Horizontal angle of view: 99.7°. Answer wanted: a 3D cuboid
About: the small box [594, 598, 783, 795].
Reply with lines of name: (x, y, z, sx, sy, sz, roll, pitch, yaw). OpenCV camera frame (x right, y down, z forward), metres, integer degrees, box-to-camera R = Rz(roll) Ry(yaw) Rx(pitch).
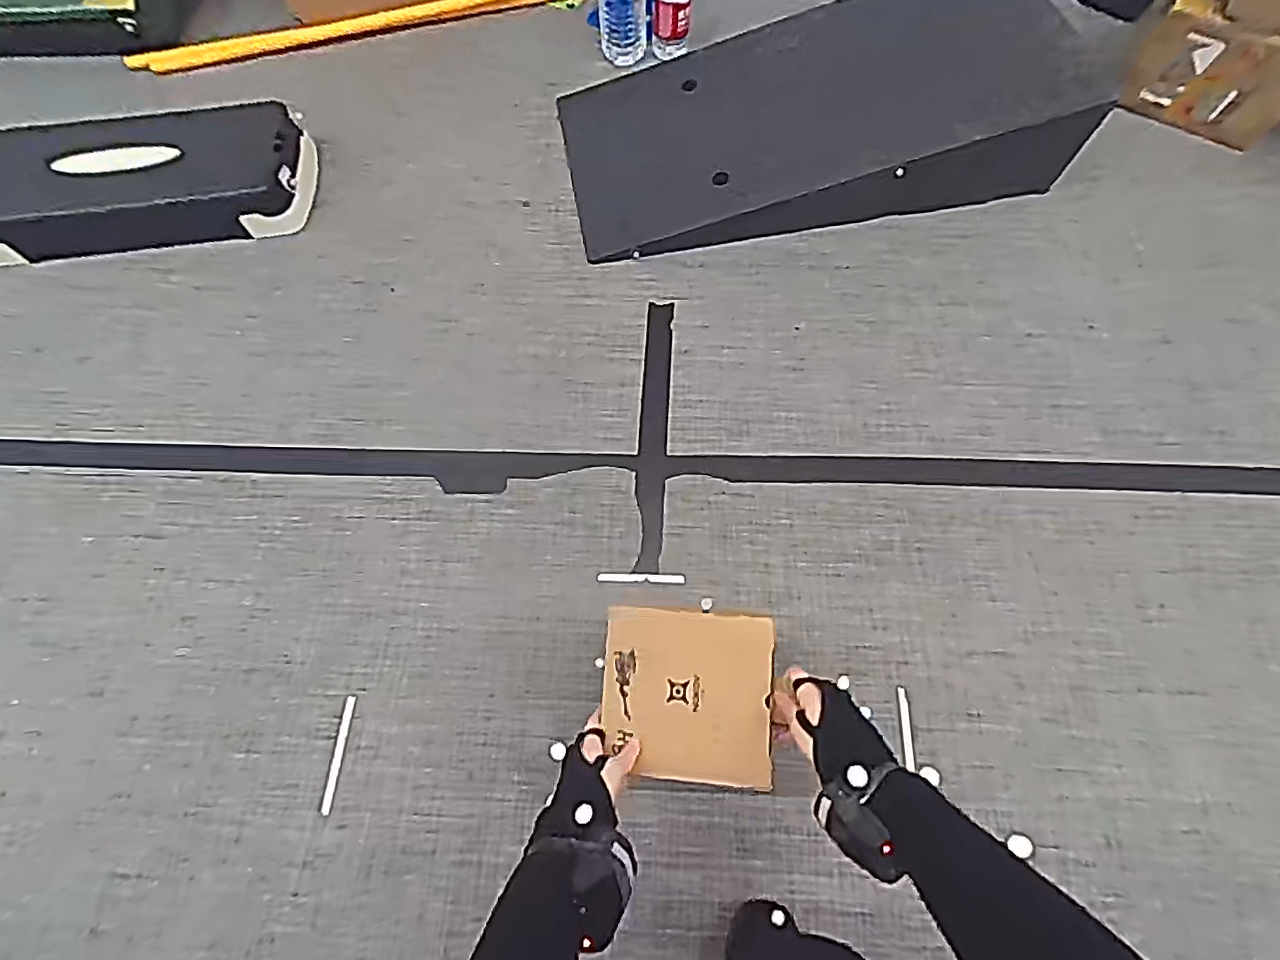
small box: (0.056, 0.225, 0.608, 0.179, 0.176, 0.168, 3, 80, 7)
